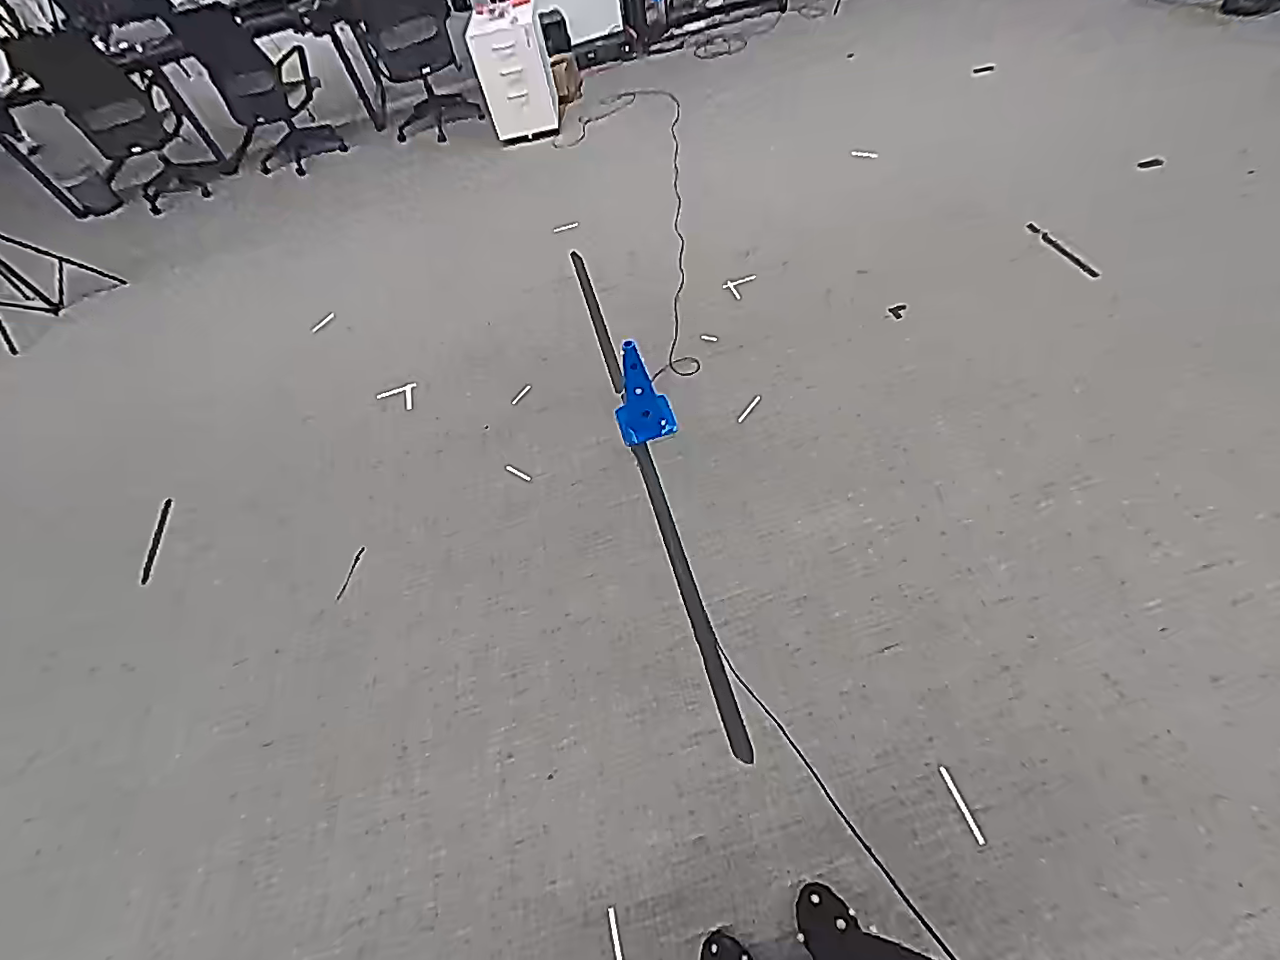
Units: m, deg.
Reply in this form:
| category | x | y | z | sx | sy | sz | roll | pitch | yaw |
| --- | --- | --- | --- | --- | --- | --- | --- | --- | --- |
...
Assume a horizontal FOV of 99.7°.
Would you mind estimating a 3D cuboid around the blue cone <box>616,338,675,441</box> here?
| category | x | y | z | sx | sy | sz | roll | pitch | yaw |
| --- | --- | --- | --- | --- | --- | --- | --- | --- | --- |
| blue cone | -0.008 | -0.329 | 1.836 | 0.193 | 0.380 | 0.192 | -18 | 52 | -3 |
